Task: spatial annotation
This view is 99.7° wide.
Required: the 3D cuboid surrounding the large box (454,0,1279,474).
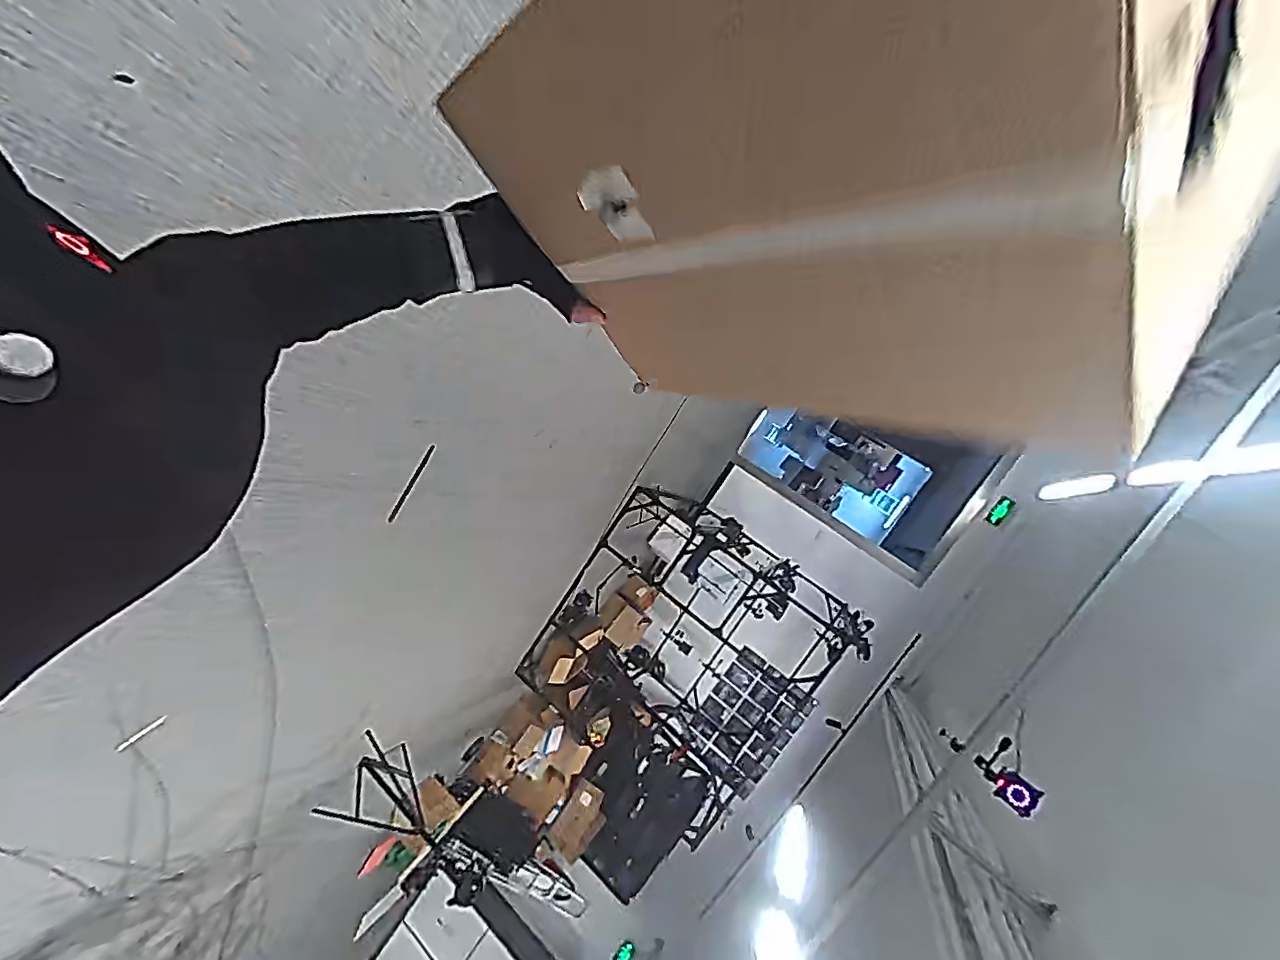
[{"bbox_3d":[0.140,-0.257,0.384,0.320,0.408,0.320,-49,128,-12],"label":"large box"}]
